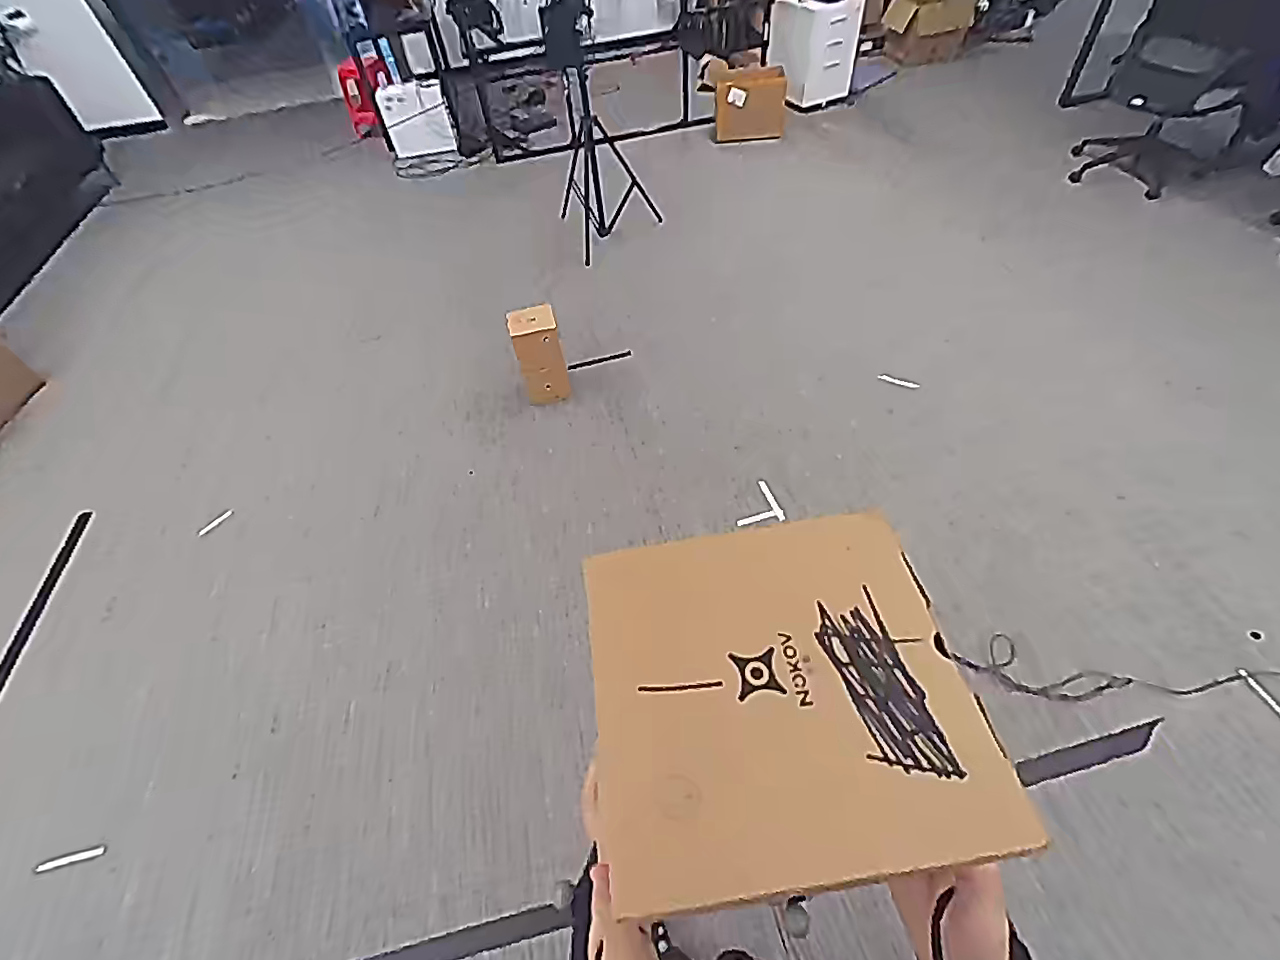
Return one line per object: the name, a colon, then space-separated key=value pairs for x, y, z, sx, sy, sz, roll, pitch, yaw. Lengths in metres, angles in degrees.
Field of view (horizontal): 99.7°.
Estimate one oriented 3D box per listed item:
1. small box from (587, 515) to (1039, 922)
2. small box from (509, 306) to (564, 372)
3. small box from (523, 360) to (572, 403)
small box: x=0.071 y=0.145 z=0.323 sx=0.179 sy=0.176 sz=0.168 roll=-9 pitch=50 yaw=-1
small box: x=-0.395 y=-0.541 z=2.085 sx=0.179 sy=0.176 sz=0.168 roll=-14 pitch=50 yaw=-5
small box: x=-0.382 y=-0.433 z=2.211 sx=0.168 sy=0.176 sz=0.179 roll=-13 pitch=51 yaw=-5
